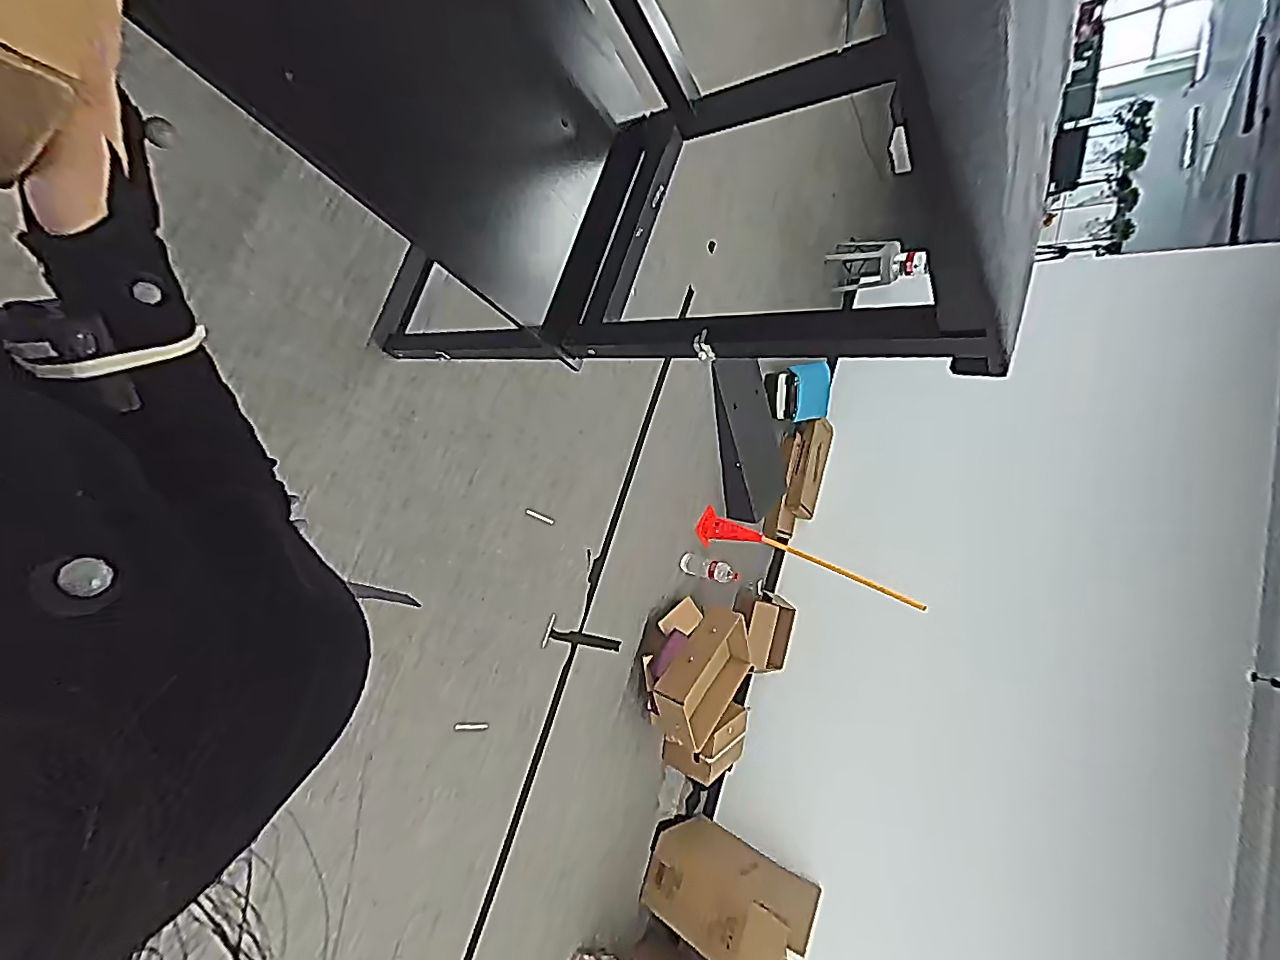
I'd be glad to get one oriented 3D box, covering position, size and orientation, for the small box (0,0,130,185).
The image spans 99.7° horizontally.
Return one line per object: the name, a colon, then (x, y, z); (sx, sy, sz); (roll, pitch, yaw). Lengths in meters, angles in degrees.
small box: (-0.284, -0.232, 0.176); (0.168, 0.176, 0.179); (15, 83, -56)
